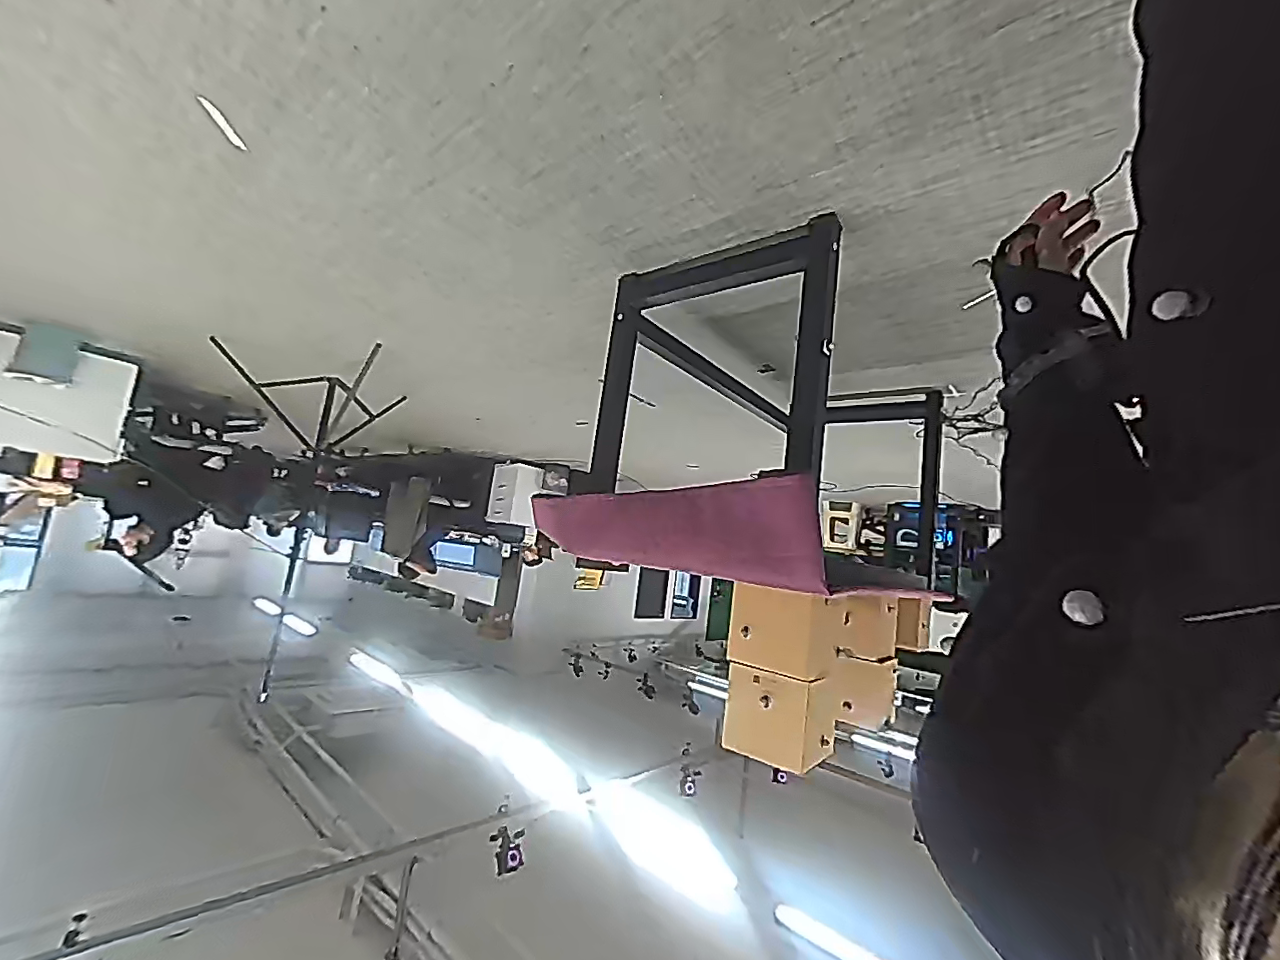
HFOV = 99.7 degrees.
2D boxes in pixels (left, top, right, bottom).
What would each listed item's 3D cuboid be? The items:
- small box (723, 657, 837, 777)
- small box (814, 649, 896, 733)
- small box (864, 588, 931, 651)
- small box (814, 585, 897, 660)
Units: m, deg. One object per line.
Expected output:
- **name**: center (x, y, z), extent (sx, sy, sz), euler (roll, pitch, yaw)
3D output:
- **small box**: center (0.287, 0.462, 1.091), extent (0.168, 0.176, 0.179), euler (2, 172, 38)
- **small box**: center (0.564, 0.538, 1.422), extent (0.179, 0.176, 0.168), euler (2, 171, 39)
- **small box**: center (0.825, 0.443, 1.736), extent (0.179, 0.176, 0.168), euler (2, 170, 40)
- **small box**: center (0.581, 0.376, 1.449), extent (0.168, 0.176, 0.179), euler (1, 170, 39)
